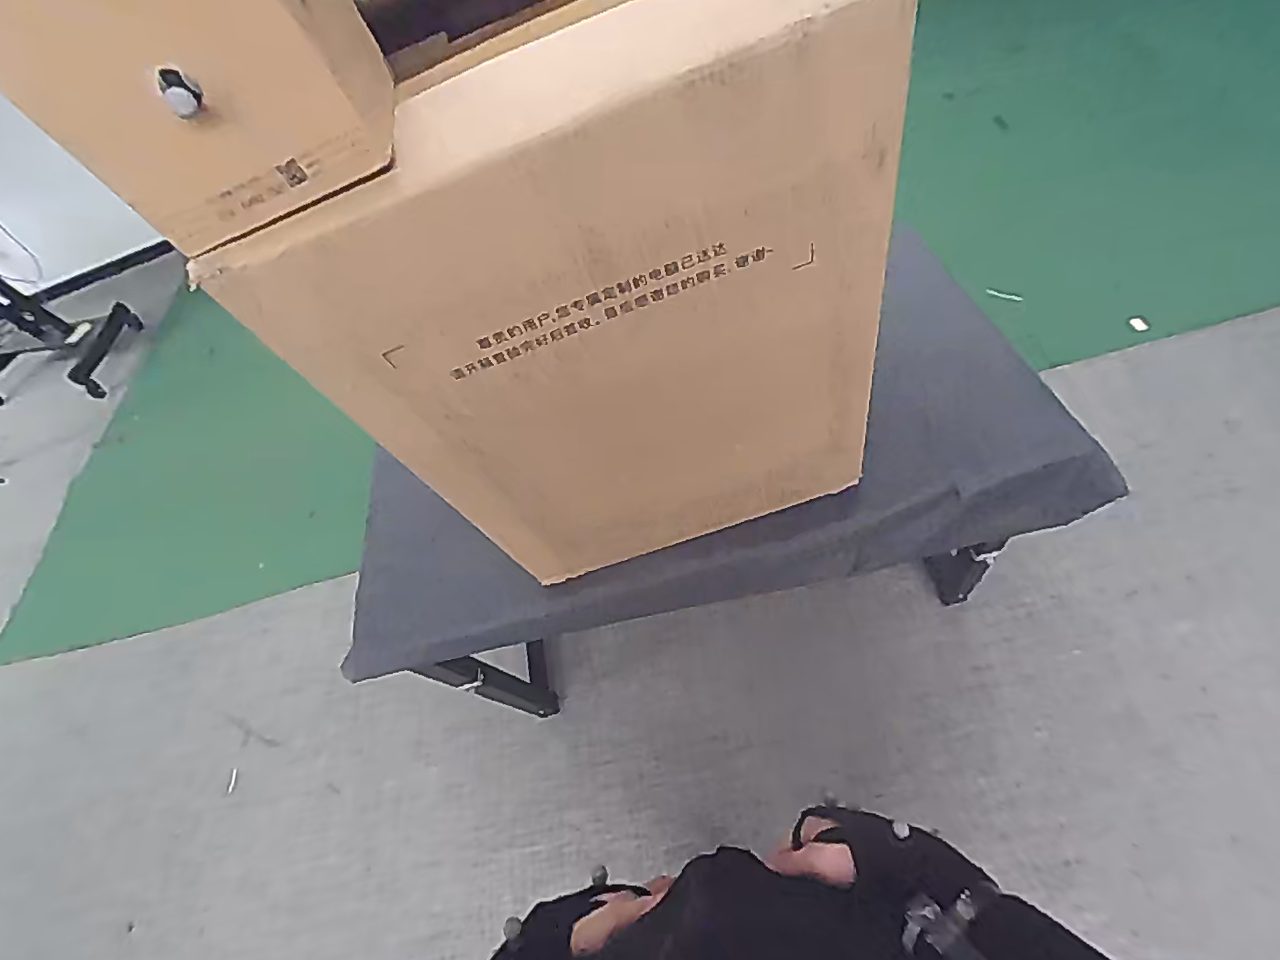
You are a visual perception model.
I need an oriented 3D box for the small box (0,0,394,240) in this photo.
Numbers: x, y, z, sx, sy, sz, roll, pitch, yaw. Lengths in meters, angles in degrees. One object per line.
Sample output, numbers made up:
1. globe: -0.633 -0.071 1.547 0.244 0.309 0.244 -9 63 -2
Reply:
1. small box: -0.288 -0.291 0.361 0.168 0.176 0.179 -21 56 6
